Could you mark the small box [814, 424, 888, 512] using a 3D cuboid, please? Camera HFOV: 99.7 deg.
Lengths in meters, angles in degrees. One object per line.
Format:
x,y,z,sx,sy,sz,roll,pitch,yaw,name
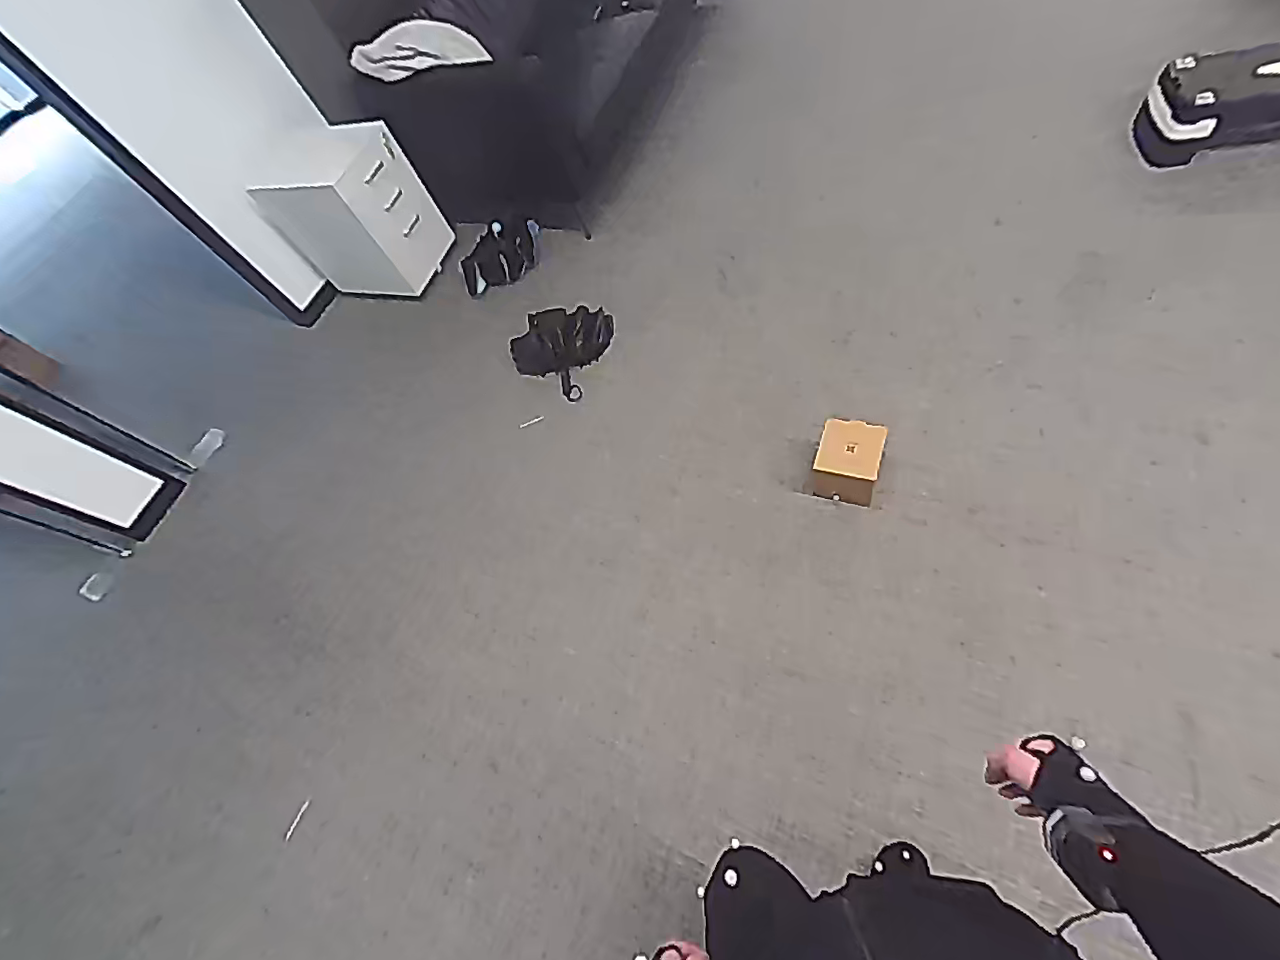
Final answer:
0.600,-0.032,1.552,0.168,0.176,0.179,13,67,24,small box
